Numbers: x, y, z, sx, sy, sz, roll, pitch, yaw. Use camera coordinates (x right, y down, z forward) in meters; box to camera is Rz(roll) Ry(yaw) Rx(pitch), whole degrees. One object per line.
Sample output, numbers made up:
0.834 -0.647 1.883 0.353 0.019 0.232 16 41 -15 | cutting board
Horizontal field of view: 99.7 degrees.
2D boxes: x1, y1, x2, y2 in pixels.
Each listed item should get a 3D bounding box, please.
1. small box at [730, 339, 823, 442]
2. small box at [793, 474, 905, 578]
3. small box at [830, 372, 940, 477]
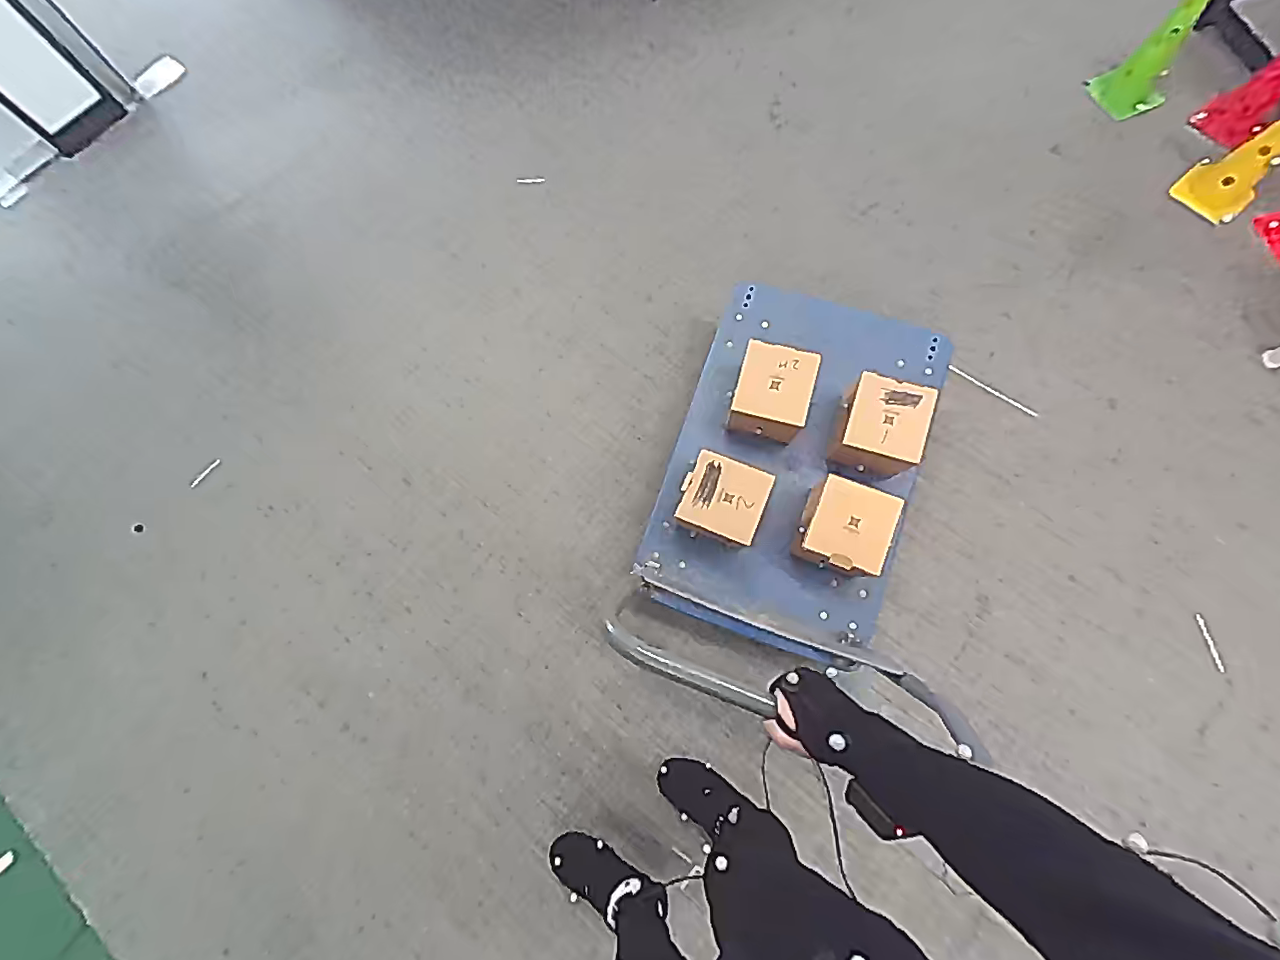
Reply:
0.315 -0.204 1.283 0.168 0.176 0.179 16 82 7 | small box
0.460 0.108 1.216 0.168 0.176 0.179 21 83 9 | small box
0.554 -0.121 1.246 0.168 0.176 0.179 18 83 9 | small box
